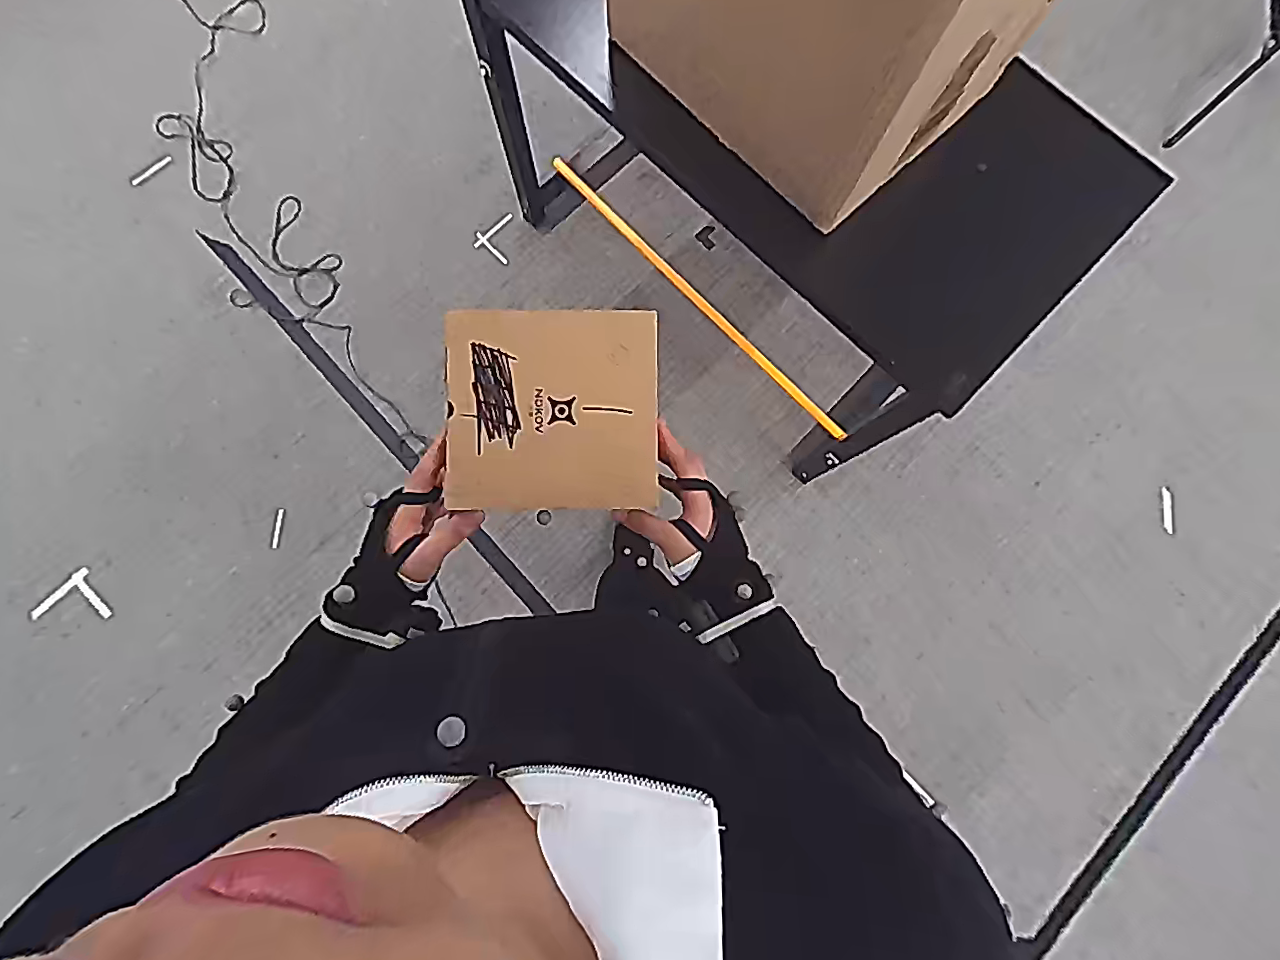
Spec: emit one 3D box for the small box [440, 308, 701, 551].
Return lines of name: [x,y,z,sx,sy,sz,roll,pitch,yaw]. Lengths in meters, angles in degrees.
small box: [-0.048,-0.031,0.441,0.179,0.176,0.168,-1,89,-2]
